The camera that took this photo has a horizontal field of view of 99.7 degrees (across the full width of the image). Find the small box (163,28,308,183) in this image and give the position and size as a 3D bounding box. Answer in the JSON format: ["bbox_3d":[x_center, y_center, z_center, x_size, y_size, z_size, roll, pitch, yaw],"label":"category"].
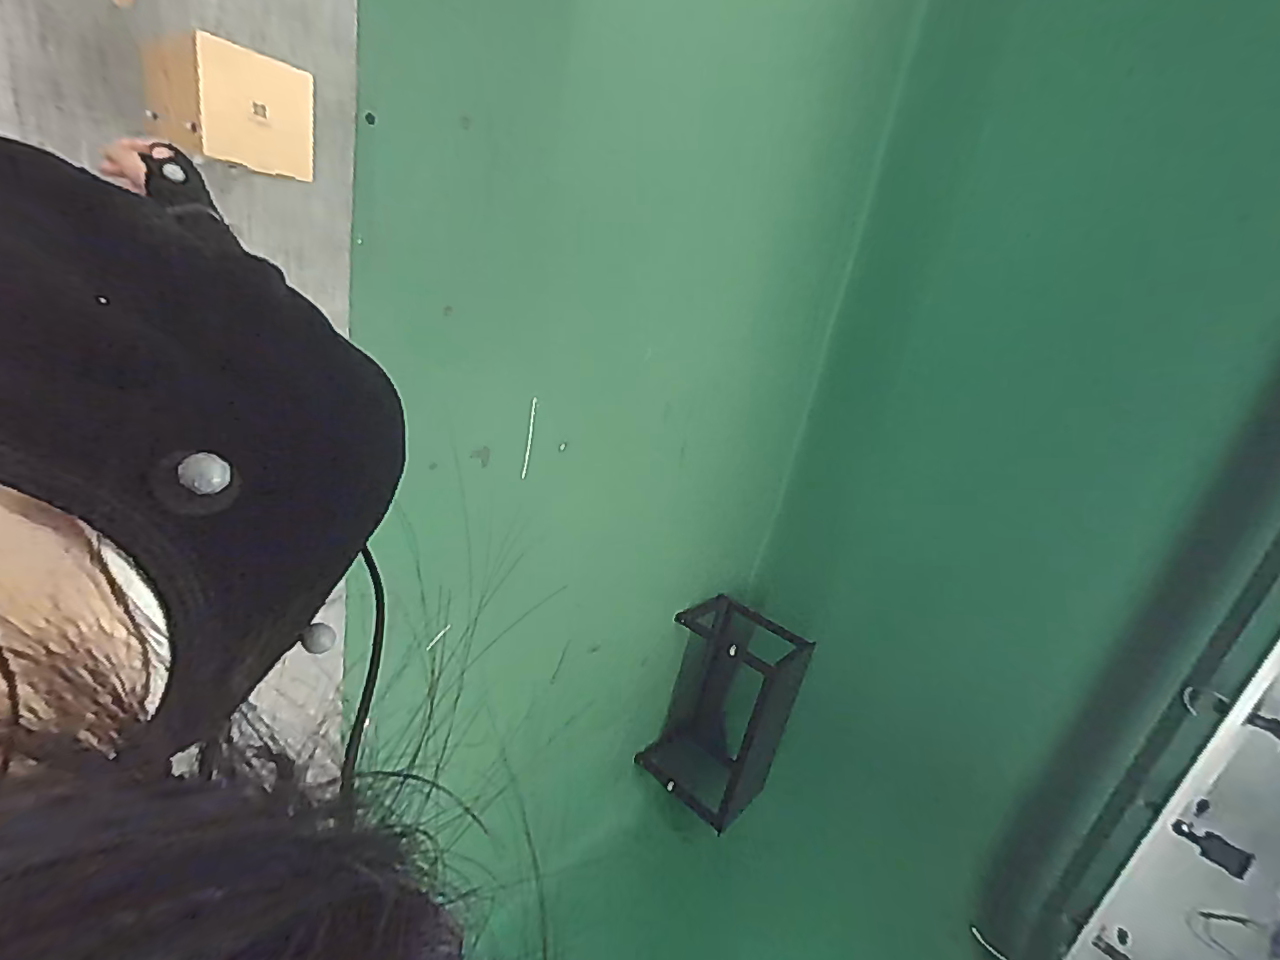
[{"bbox_3d":[-0.708,-0.645,0.949,0.168,0.176,0.179,-12,121,-50],"label":"small box"}]

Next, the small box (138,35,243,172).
[{"bbox_3d":[-0.832,-0.703,1.035,0.179,0.176,0.168,-9,117,-51],"label":"small box"}]
